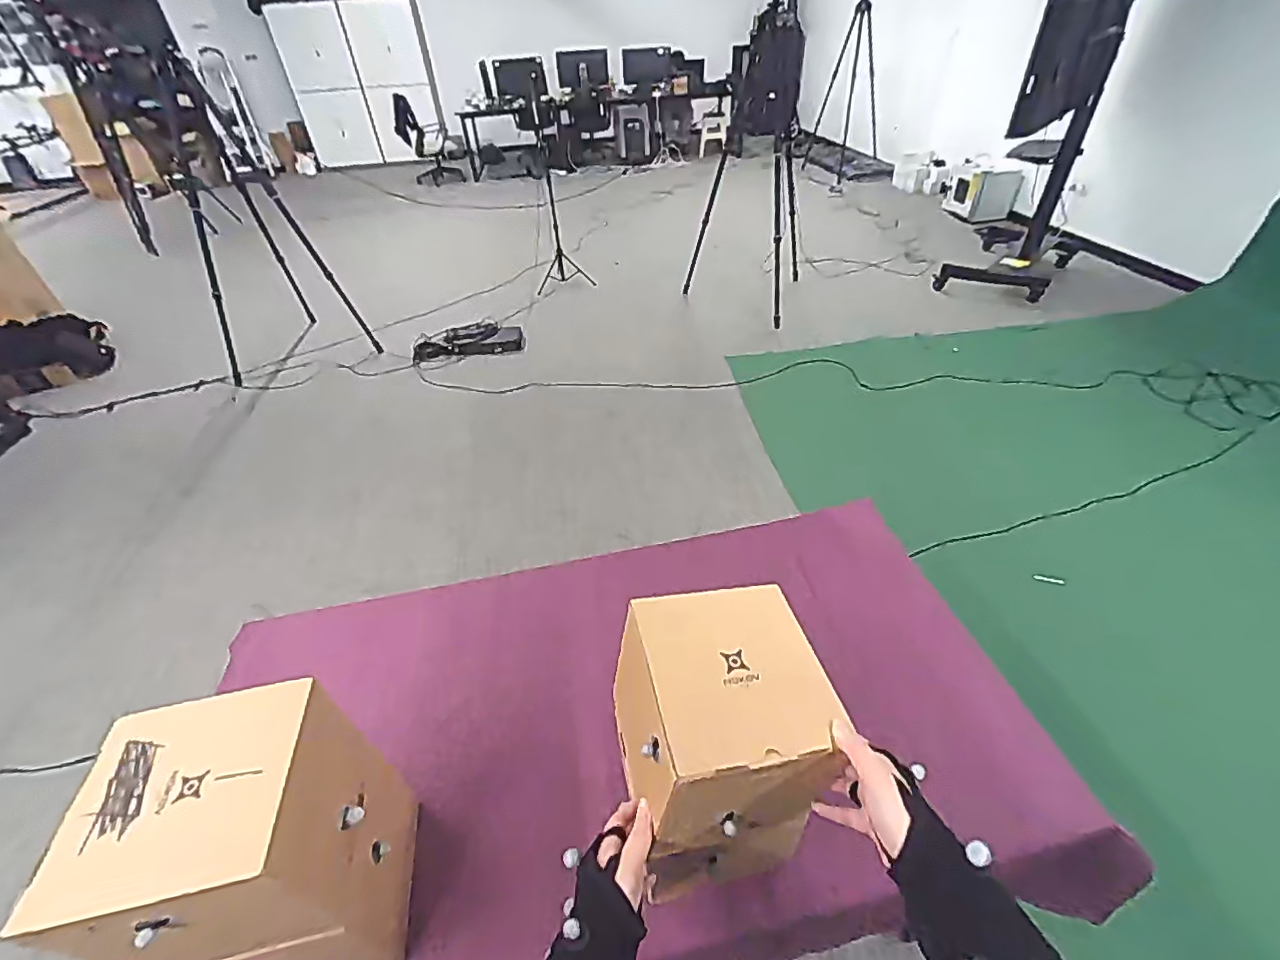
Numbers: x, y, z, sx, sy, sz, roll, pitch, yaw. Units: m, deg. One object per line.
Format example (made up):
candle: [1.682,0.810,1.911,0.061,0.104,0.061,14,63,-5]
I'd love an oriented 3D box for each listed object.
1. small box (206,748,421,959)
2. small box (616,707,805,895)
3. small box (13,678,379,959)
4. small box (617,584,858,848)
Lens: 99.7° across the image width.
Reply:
small box: [-0.362,0.442,0.612,0.168,0.176,0.179,-10,40,-7]
small box: [0.078,0.368,0.656,0.179,0.176,0.168,-11,41,-7]
small box: [-0.374,0.318,0.505,0.179,0.176,0.168,-10,41,-7]
small box: [0.076,0.231,0.545,0.168,0.176,0.179,-4,41,-15]
